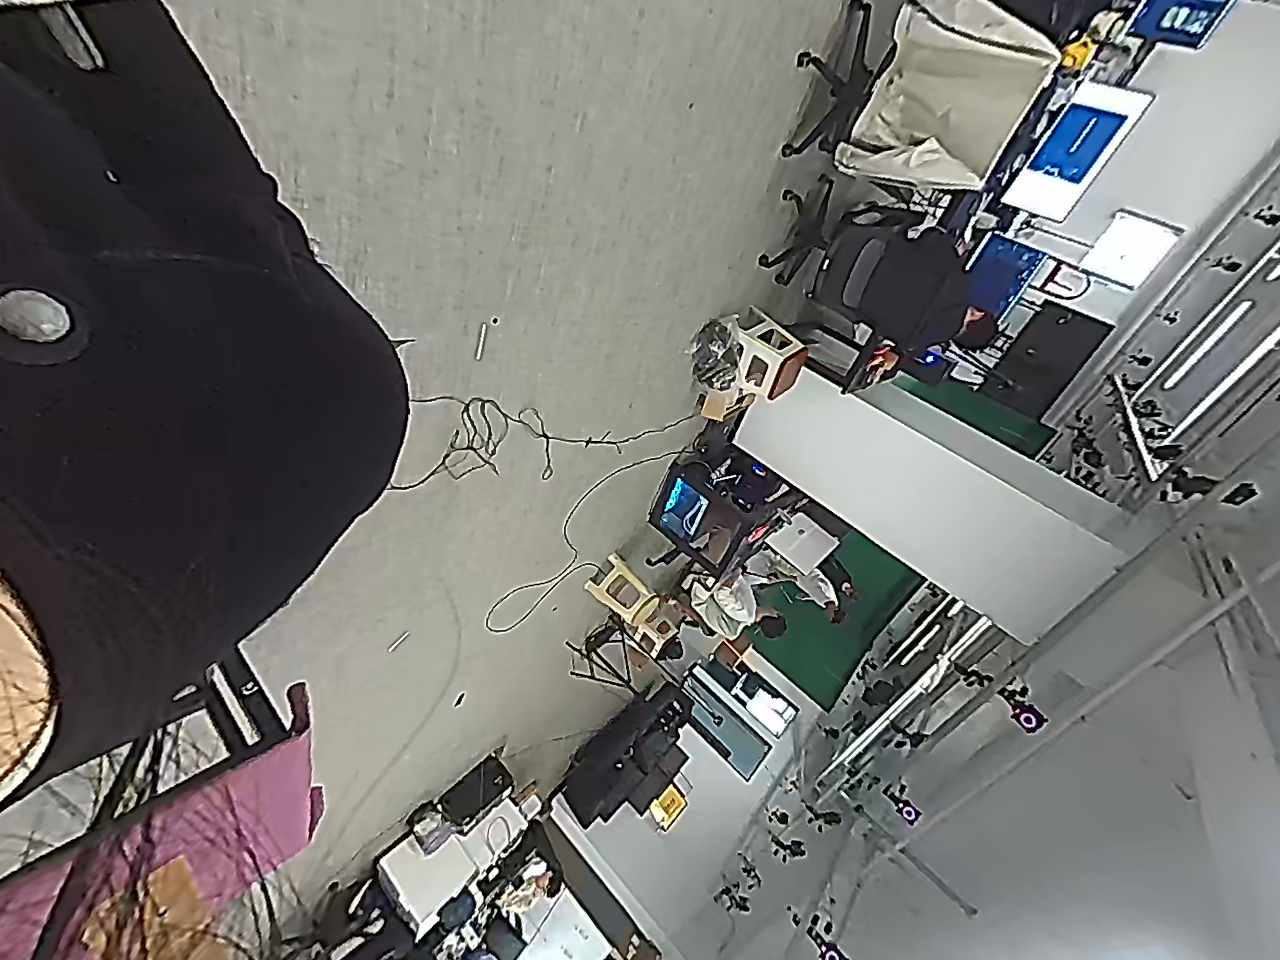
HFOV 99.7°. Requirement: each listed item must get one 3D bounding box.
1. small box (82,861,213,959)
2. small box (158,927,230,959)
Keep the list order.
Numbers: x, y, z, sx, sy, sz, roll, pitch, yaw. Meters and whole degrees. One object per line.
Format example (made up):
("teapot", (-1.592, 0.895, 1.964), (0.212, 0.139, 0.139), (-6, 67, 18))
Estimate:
("small box", (-1.041, 0.964, 1.152), (0.168, 0.176, 0.179), (-22, 143, -50))
("small box", (-0.924, 1.062, 1.091), (0.168, 0.176, 0.179), (-23, 144, -49))
